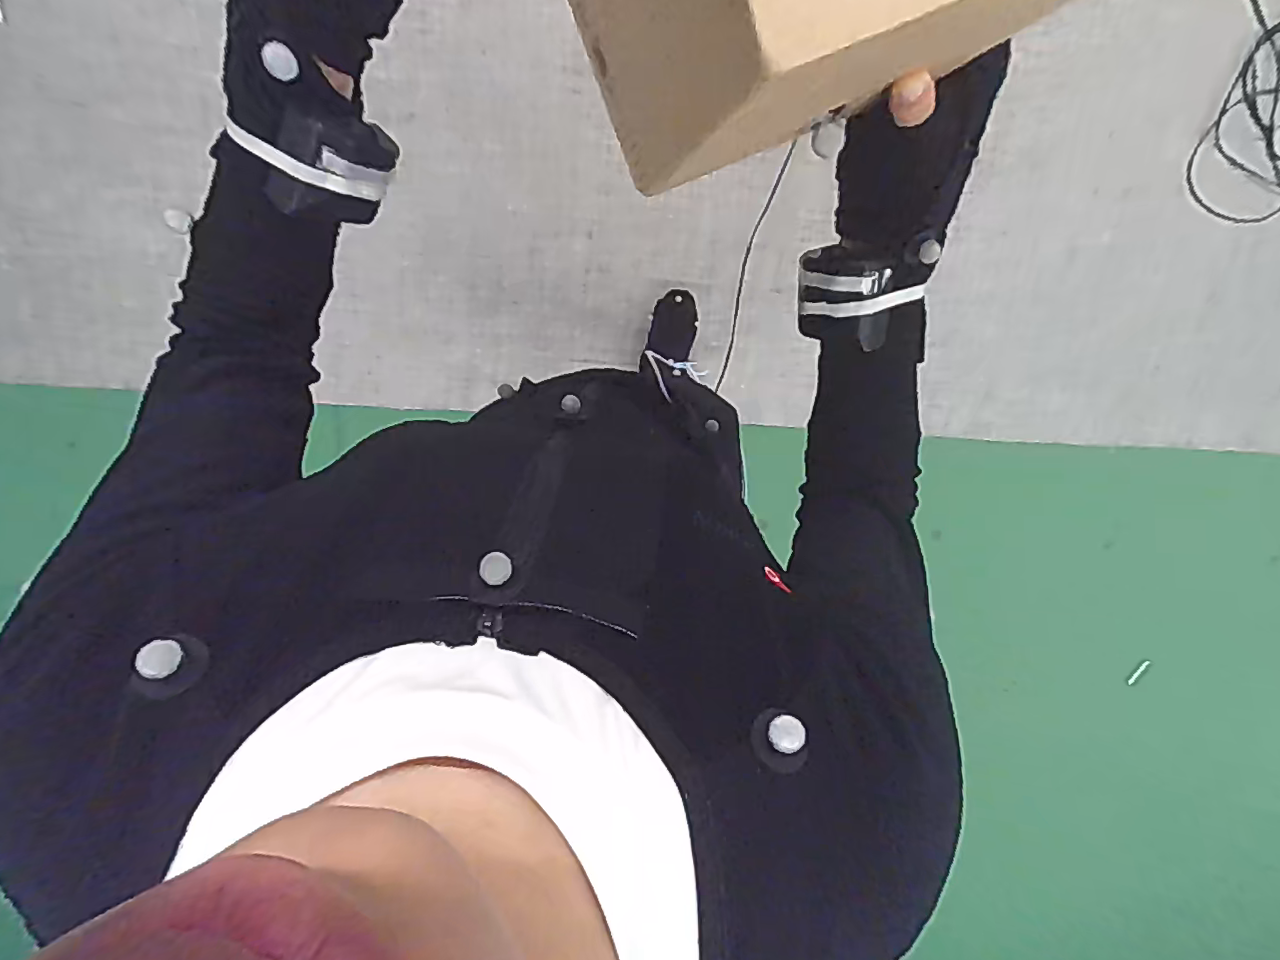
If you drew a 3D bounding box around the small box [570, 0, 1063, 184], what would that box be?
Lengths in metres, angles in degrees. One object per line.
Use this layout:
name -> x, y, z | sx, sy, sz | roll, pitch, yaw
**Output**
small box -> 0.065, -0.231, 0.187 | 0.179, 0.176, 0.168 | -24, 111, -4
